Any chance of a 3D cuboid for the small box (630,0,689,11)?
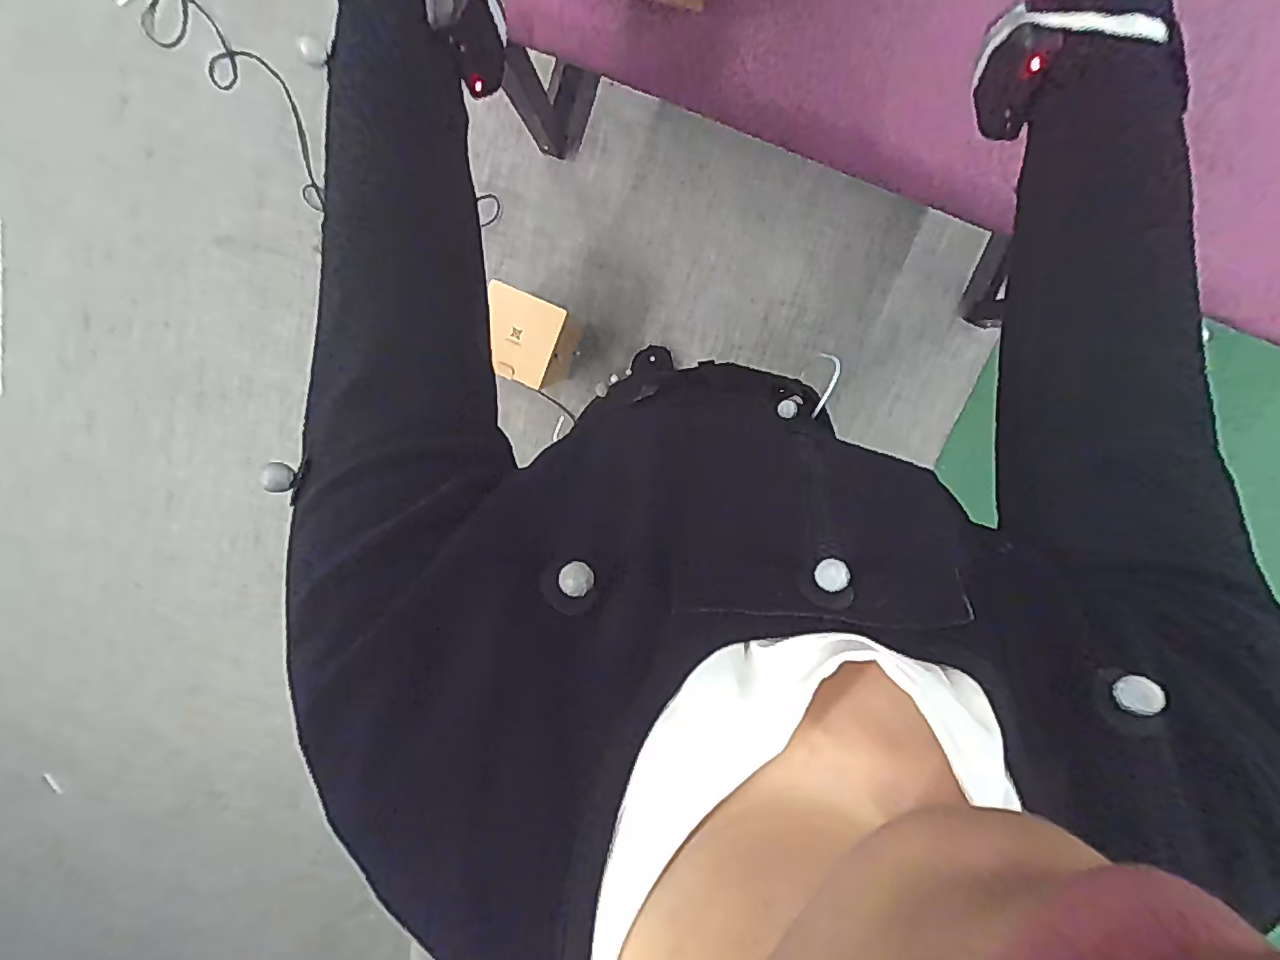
[{"bbox_3d":[0.000,-0.602,0.515,0.179,0.176,0.168,14,103,-2],"label":"small box"}]
